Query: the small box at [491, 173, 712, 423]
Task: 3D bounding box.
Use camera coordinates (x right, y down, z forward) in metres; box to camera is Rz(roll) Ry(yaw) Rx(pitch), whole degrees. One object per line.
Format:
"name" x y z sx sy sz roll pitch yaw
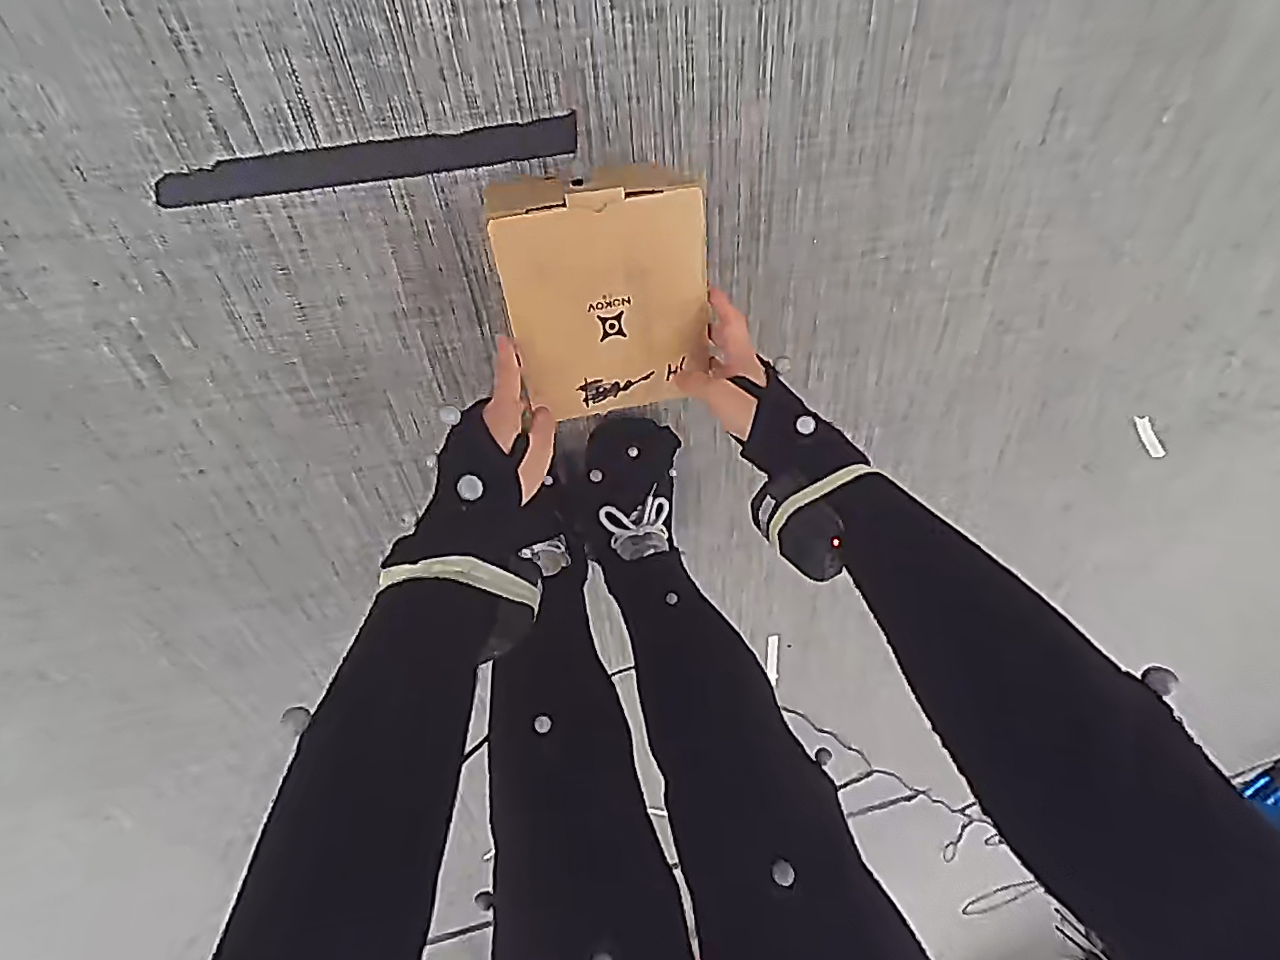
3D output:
"small box" -0.039 -0.181 0.510 0.168 0.176 0.179 -13 126 -7
